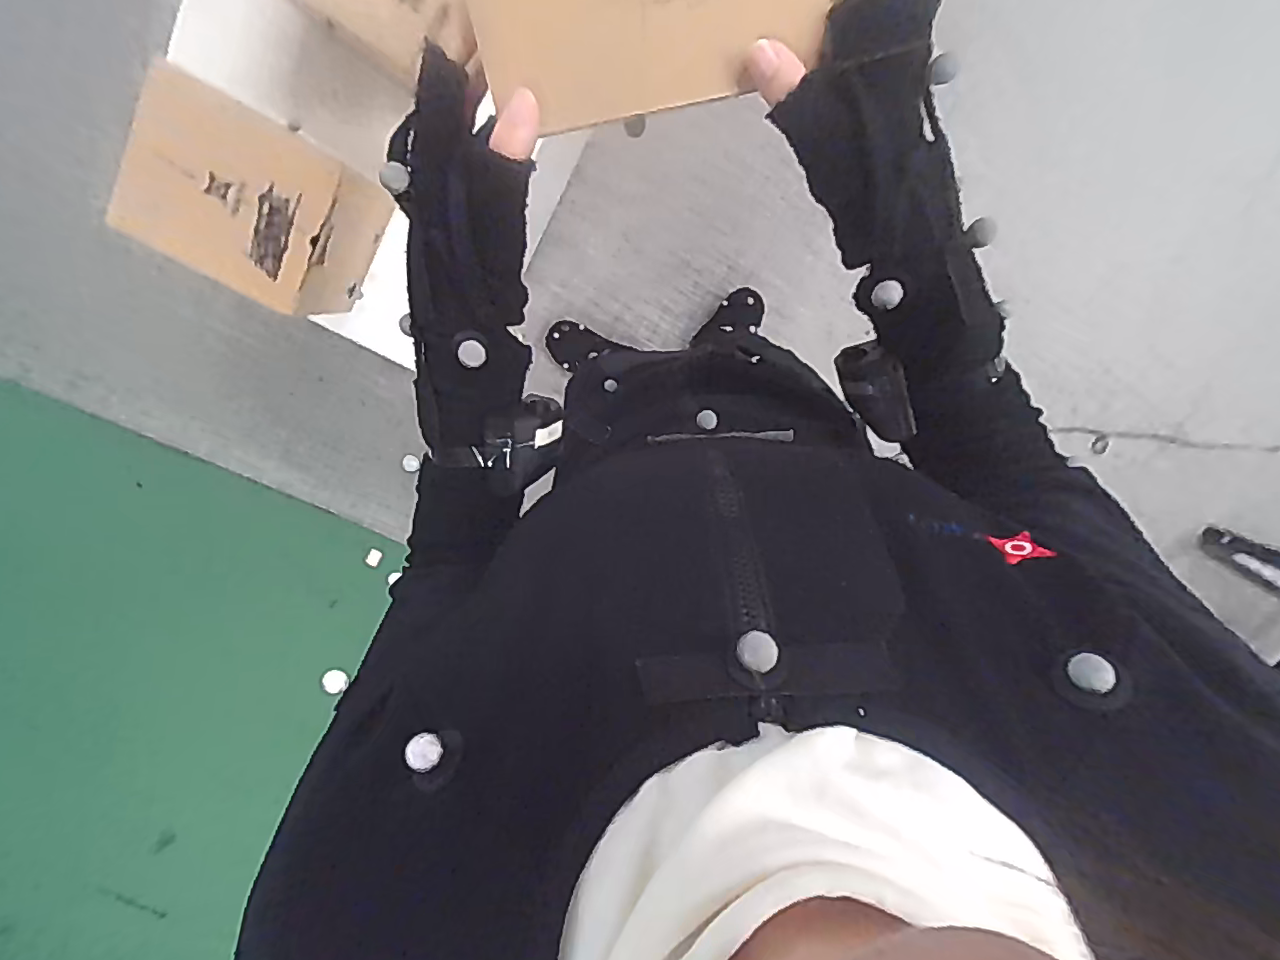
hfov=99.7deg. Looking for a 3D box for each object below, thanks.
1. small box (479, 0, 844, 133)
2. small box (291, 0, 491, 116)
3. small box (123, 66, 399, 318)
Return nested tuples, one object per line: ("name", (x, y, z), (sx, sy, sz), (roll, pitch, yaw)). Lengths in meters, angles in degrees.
("small box", (-0.001, -0.297, 0.278), (0.168, 0.176, 0.179), (-9, 127, 3))
("small box", (-0.251, -0.517, 0.551), (0.179, 0.176, 0.168), (31, 104, -14))
("small box", (-0.404, -0.303, 0.609), (0.179, 0.176, 0.168), (28, 103, -14))
